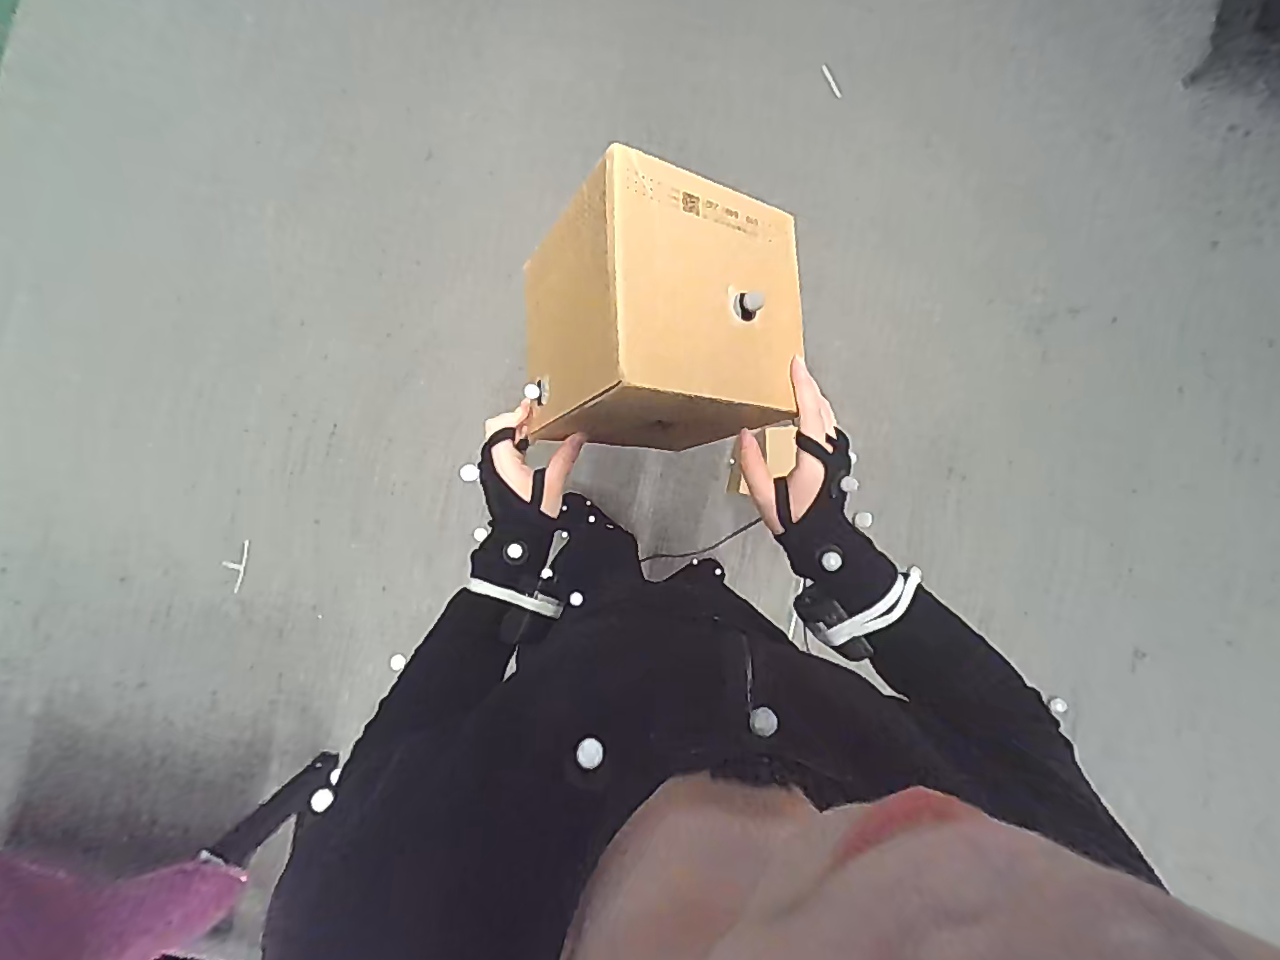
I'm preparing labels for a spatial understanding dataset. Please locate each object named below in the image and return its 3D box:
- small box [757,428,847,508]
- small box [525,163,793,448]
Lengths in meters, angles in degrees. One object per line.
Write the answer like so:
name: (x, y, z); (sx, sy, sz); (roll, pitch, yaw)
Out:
small box: (0.371, -0.025, 1.254); (0.168, 0.176, 0.179); (0, 87, 1)
small box: (0.004, -0.128, 0.463); (0.168, 0.179, 0.176); (2, 82, -30)
